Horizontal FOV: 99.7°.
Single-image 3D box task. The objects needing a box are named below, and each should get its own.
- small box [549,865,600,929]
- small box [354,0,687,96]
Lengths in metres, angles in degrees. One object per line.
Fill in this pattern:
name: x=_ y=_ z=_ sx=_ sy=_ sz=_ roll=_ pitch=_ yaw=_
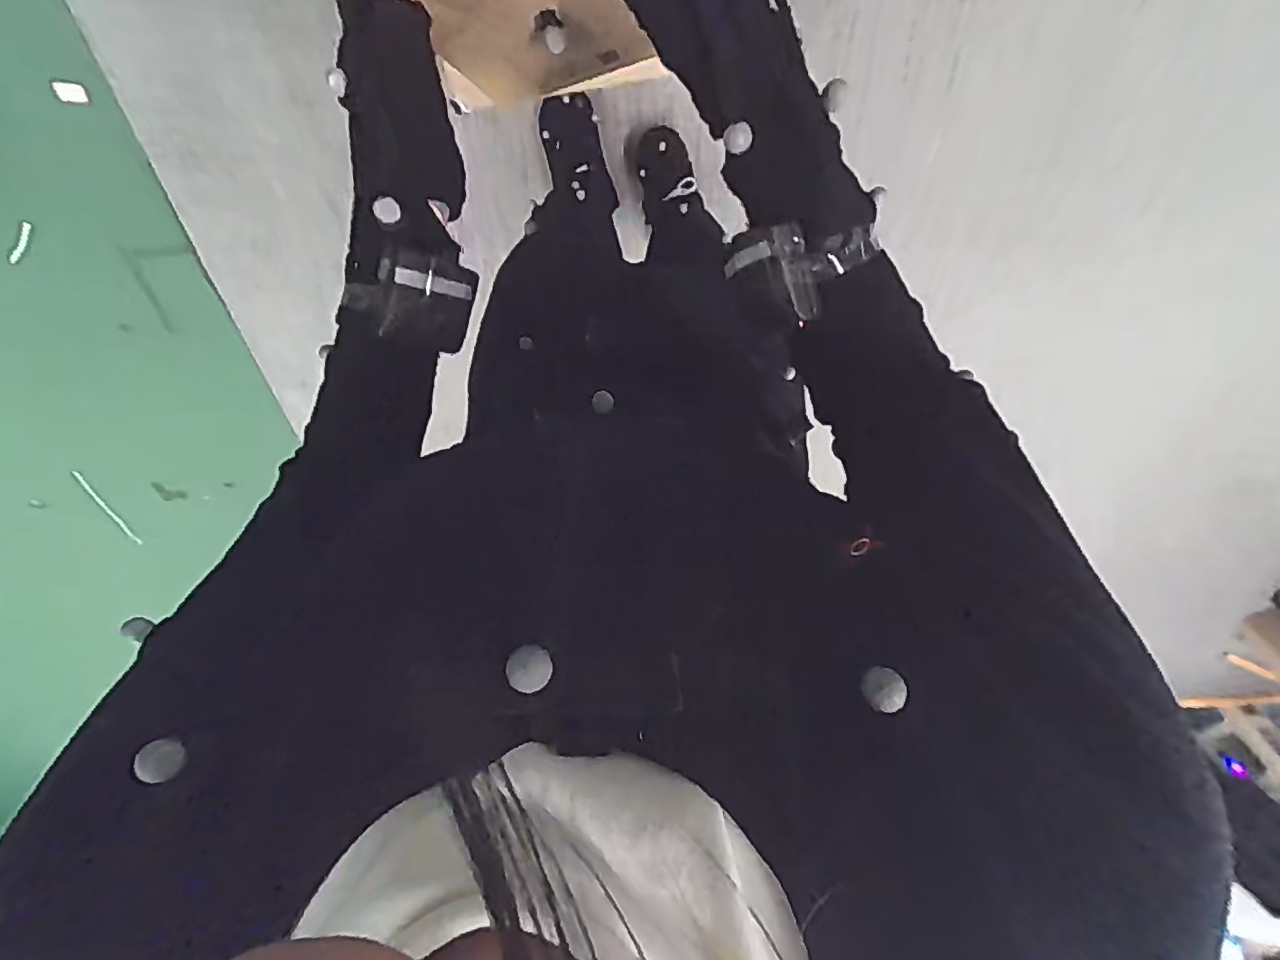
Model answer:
small box: x=-0.248 y=1.591 z=2.065 sx=0.179 sy=0.176 sz=0.168 roll=-4 pitch=132 yaw=-1
small box: x=-0.075 y=-0.375 z=0.333 sx=0.168 sy=0.176 sz=0.179 roll=-6 pitch=102 yaw=19
